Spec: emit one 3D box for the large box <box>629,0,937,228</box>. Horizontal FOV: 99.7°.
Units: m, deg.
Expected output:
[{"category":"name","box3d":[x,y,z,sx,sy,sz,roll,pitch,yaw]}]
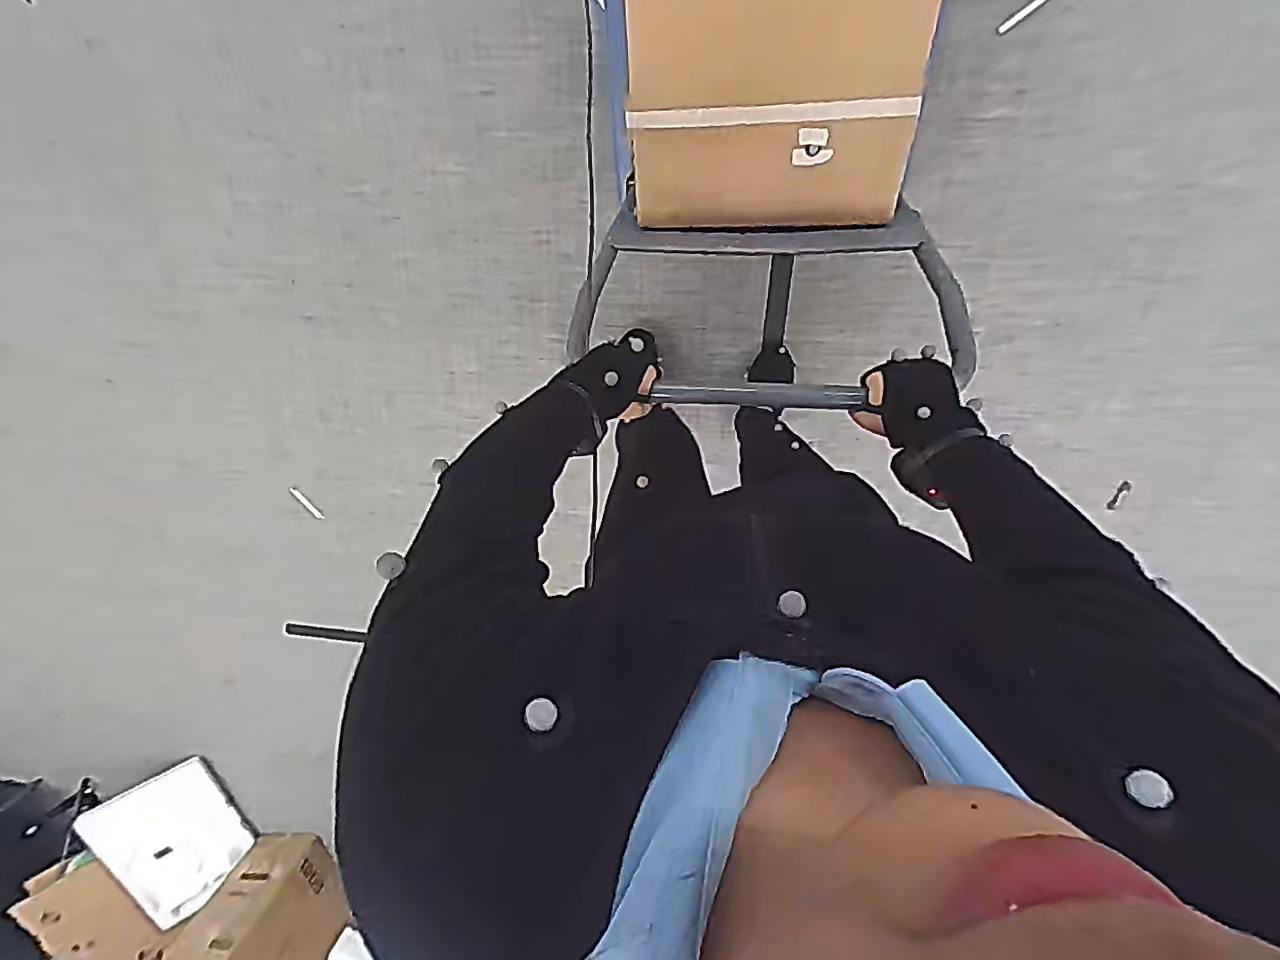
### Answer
[{"category":"large box","box3d":[0.209,-0.634,0.900,0.408,0.320,0.320,2,132,8]}]
